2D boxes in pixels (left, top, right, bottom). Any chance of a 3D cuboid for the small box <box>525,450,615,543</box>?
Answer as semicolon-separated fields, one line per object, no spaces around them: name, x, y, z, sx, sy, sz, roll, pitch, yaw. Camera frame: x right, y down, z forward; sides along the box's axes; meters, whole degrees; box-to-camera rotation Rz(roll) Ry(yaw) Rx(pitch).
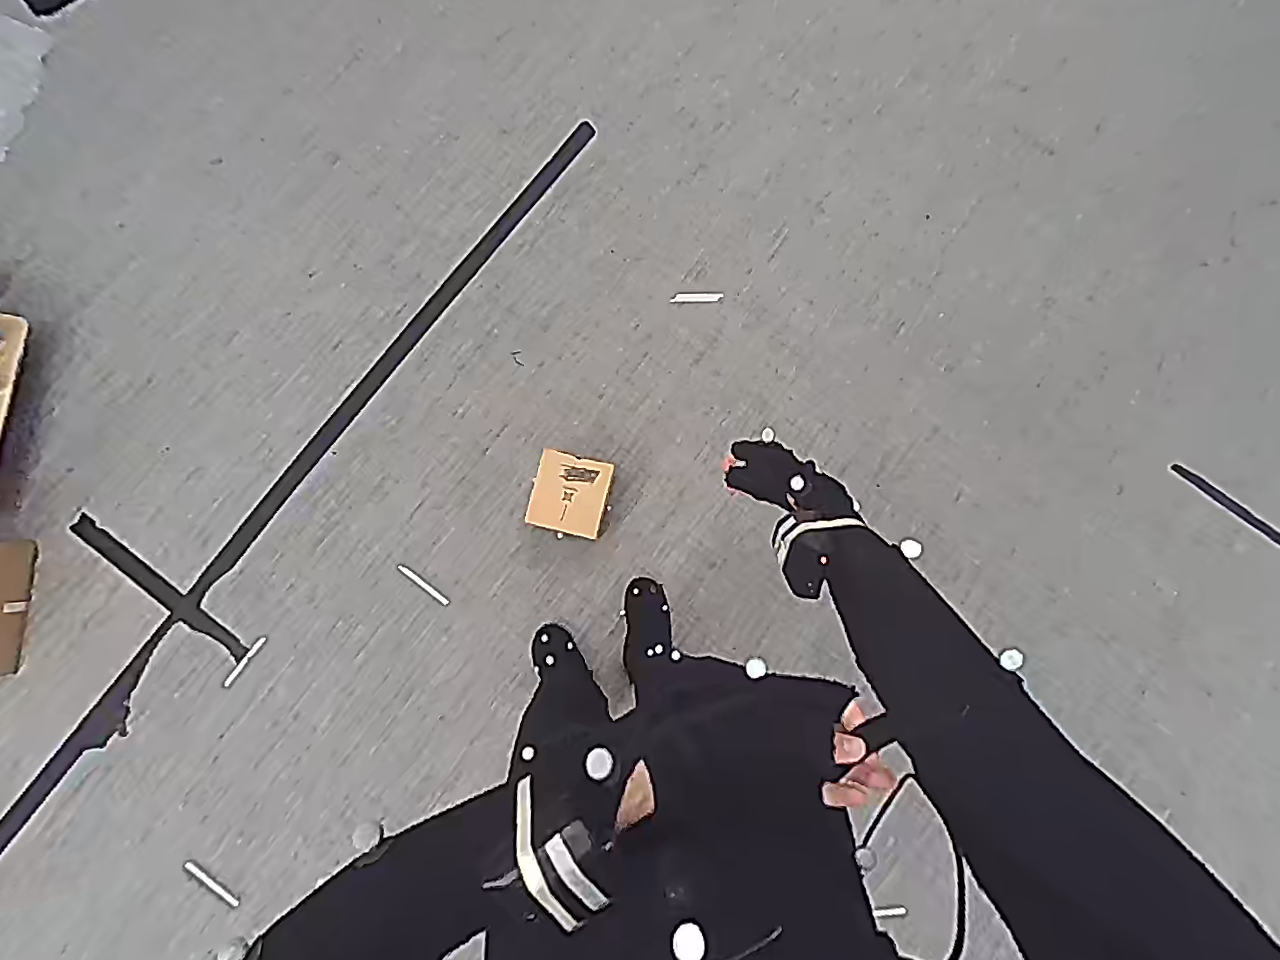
small box;-0.161;0.044;1.281;0.168;0.176;0.179;15;84;-1
